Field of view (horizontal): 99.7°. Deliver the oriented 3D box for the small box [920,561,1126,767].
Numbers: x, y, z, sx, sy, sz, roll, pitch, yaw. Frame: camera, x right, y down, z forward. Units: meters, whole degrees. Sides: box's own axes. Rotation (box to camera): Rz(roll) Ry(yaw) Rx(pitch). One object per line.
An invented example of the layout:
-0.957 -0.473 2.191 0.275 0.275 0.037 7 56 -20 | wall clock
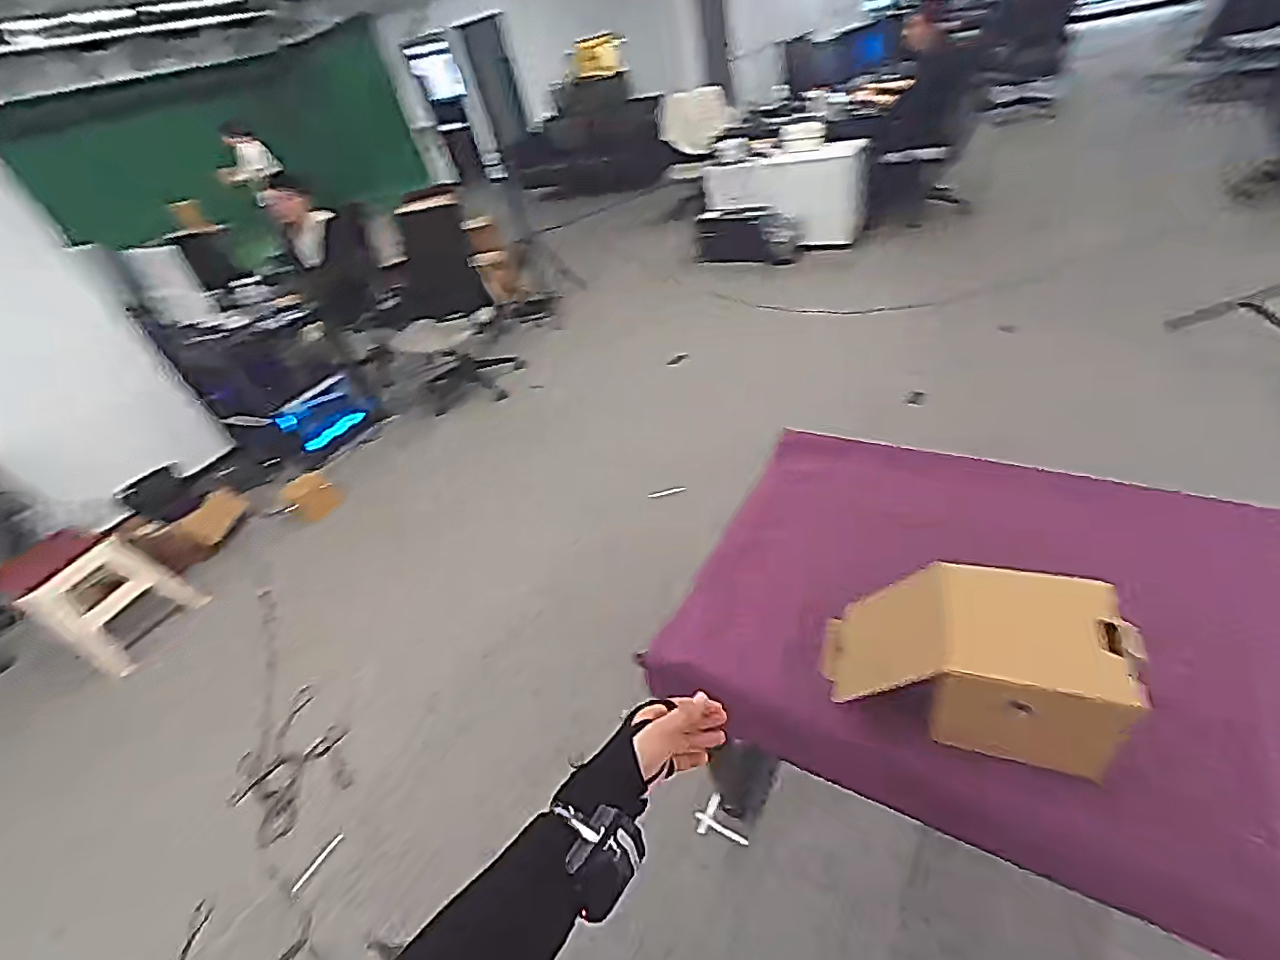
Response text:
0.453 0.226 0.675 0.179 0.176 0.168 4 42 24 | small box
